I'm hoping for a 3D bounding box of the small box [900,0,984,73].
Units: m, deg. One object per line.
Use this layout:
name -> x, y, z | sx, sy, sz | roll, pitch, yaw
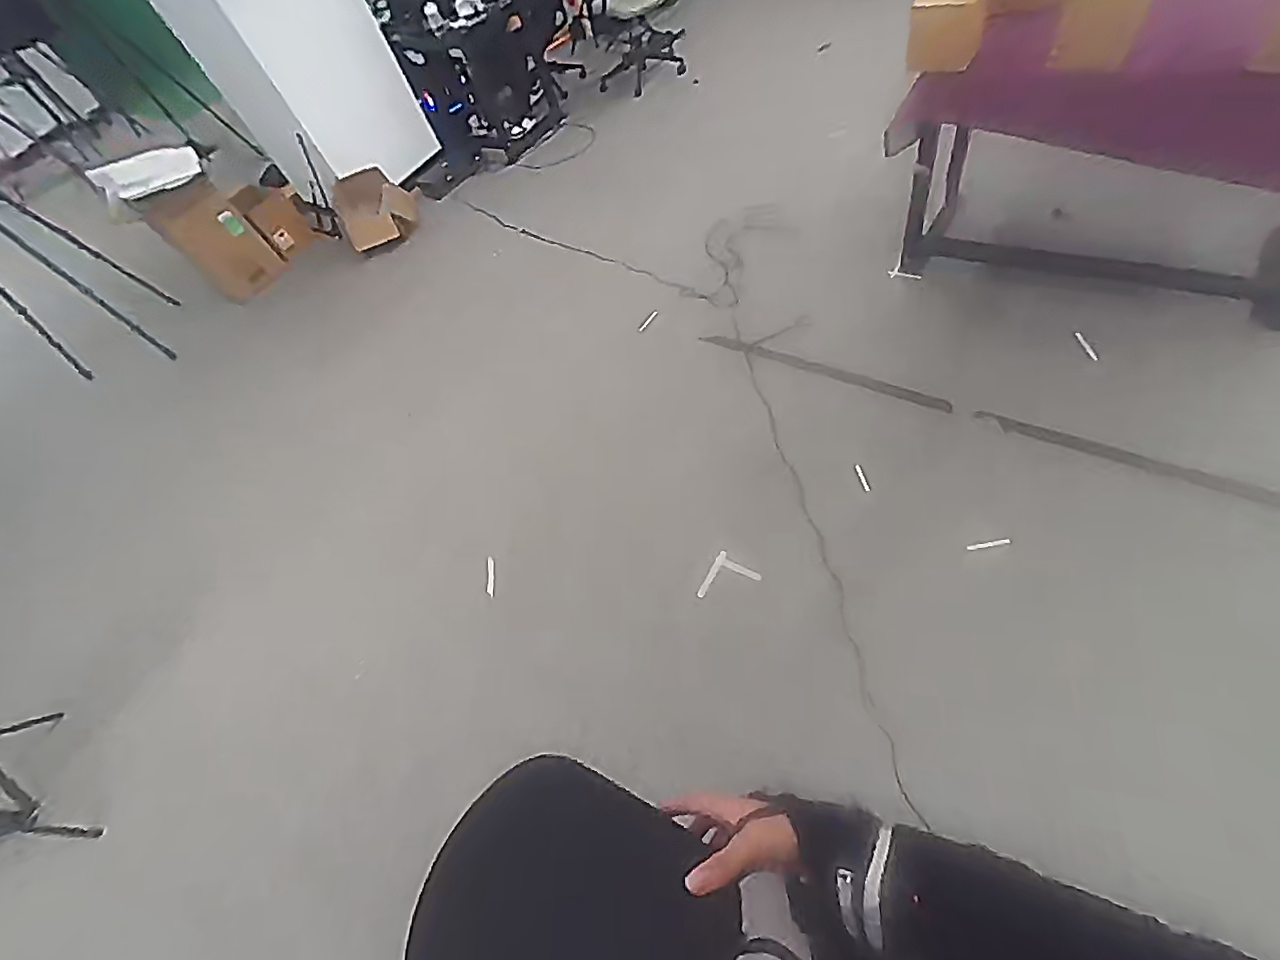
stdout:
small box -> 0.898, -1.345, 1.611 | 0.179, 0.176, 0.168 | 22, 65, 27
